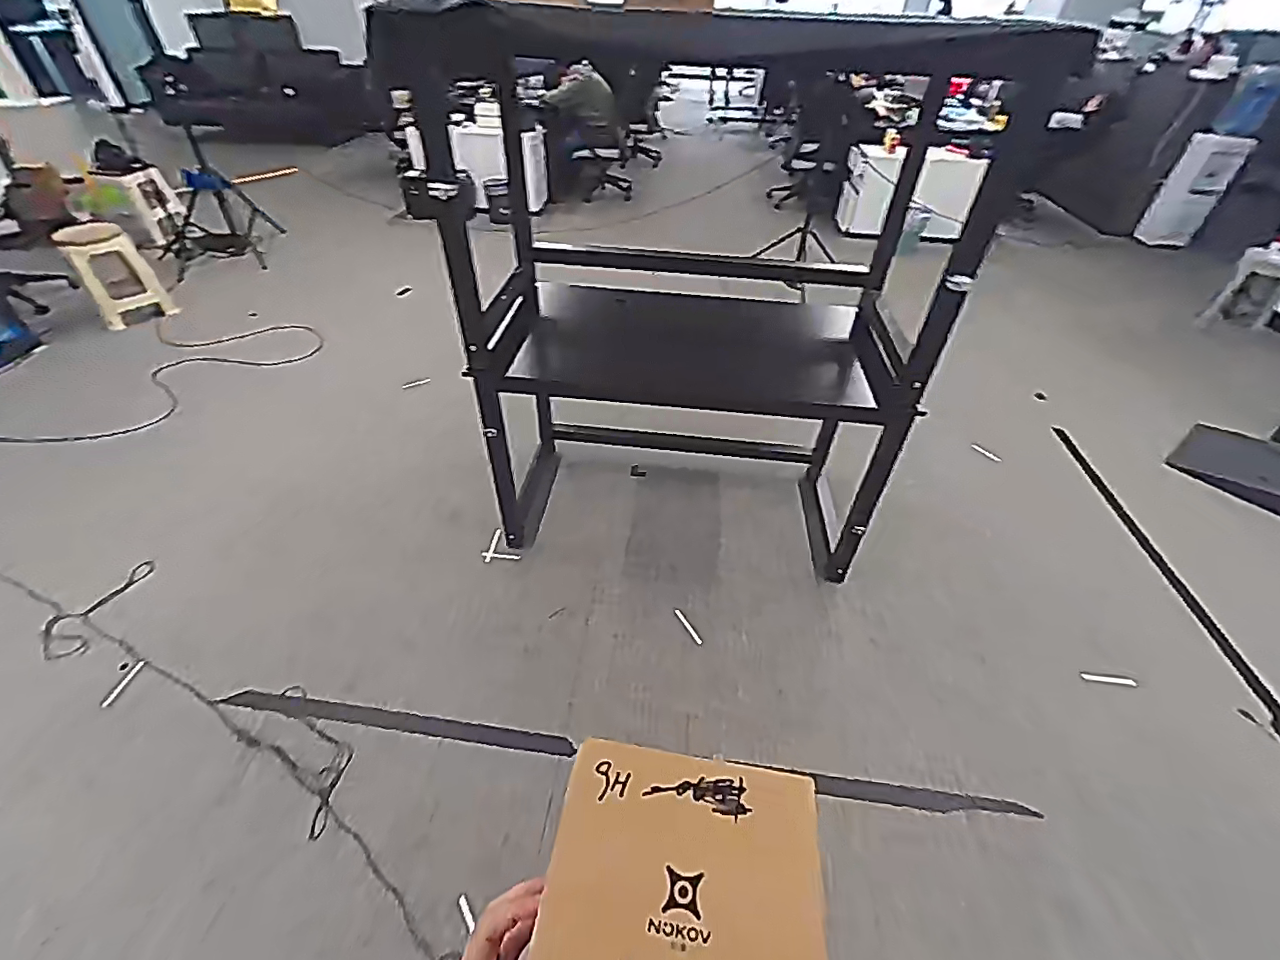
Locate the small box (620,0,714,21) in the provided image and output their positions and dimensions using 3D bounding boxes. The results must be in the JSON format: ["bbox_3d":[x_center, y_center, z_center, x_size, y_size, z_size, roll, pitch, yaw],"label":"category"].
[{"bbox_3d":[0.055,-0.932,0.961,0.168,0.176,0.179,6,39,5],"label":"small box"}]

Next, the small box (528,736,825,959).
[{"bbox_3d":[0.025,0.310,0.372,0.168,0.176,0.179,7,44,7],"label":"small box"}]

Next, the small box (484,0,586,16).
[{"bbox_3d":[-0.188,-0.937,0.958,0.168,0.176,0.179,6,40,2],"label":"small box"}]
